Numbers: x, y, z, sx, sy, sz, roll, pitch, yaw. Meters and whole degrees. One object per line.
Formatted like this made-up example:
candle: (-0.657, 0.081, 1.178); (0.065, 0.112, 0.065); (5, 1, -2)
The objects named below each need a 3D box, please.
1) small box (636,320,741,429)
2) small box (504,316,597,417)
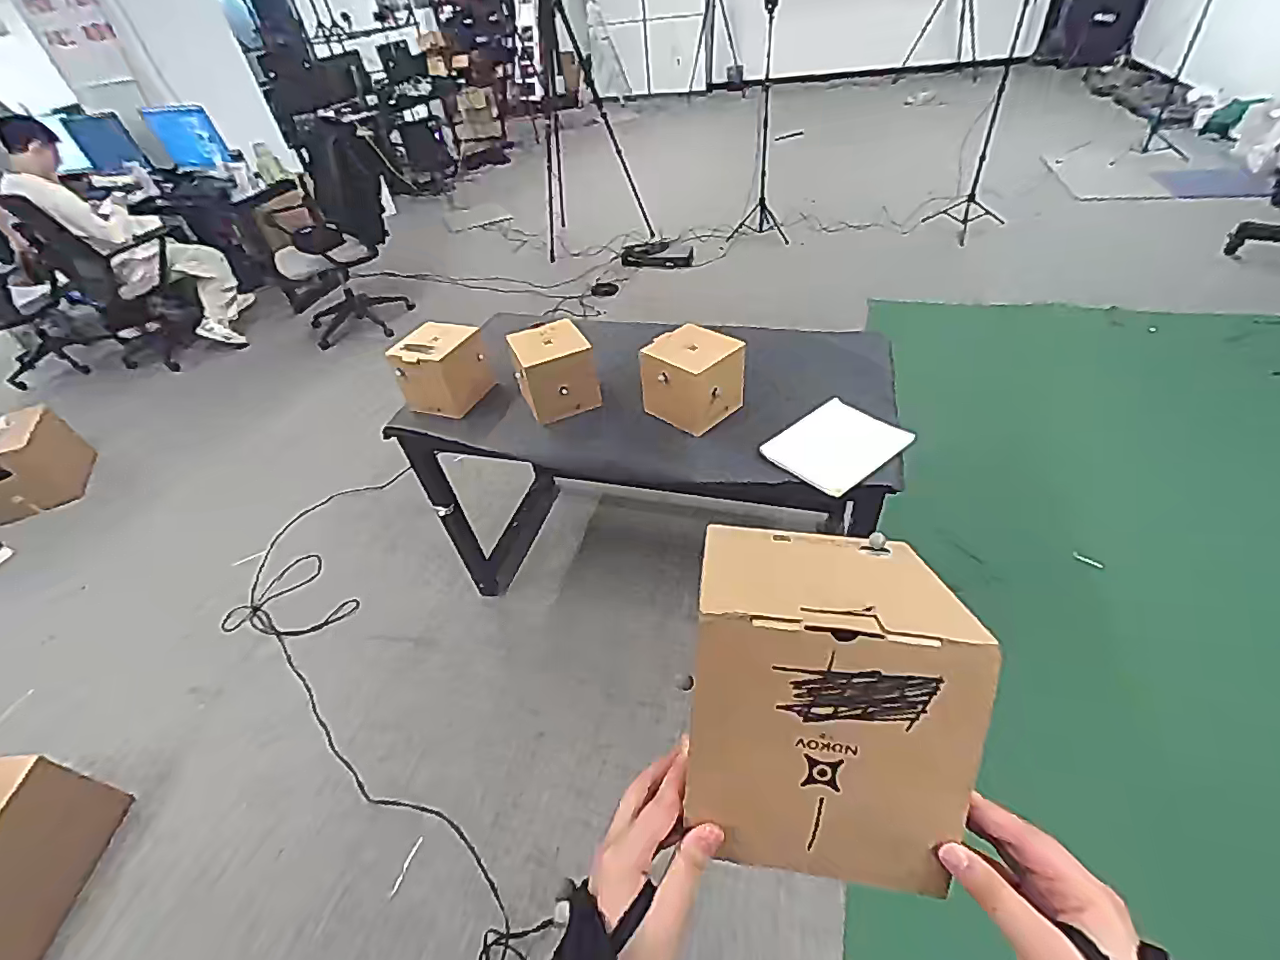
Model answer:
small box: (0.116, -0.240, 1.244); (0.168, 0.176, 0.179); (-36, 49, -28)
small box: (-0.216, -0.274, 1.330); (0.168, 0.176, 0.179); (-21, 44, -14)
